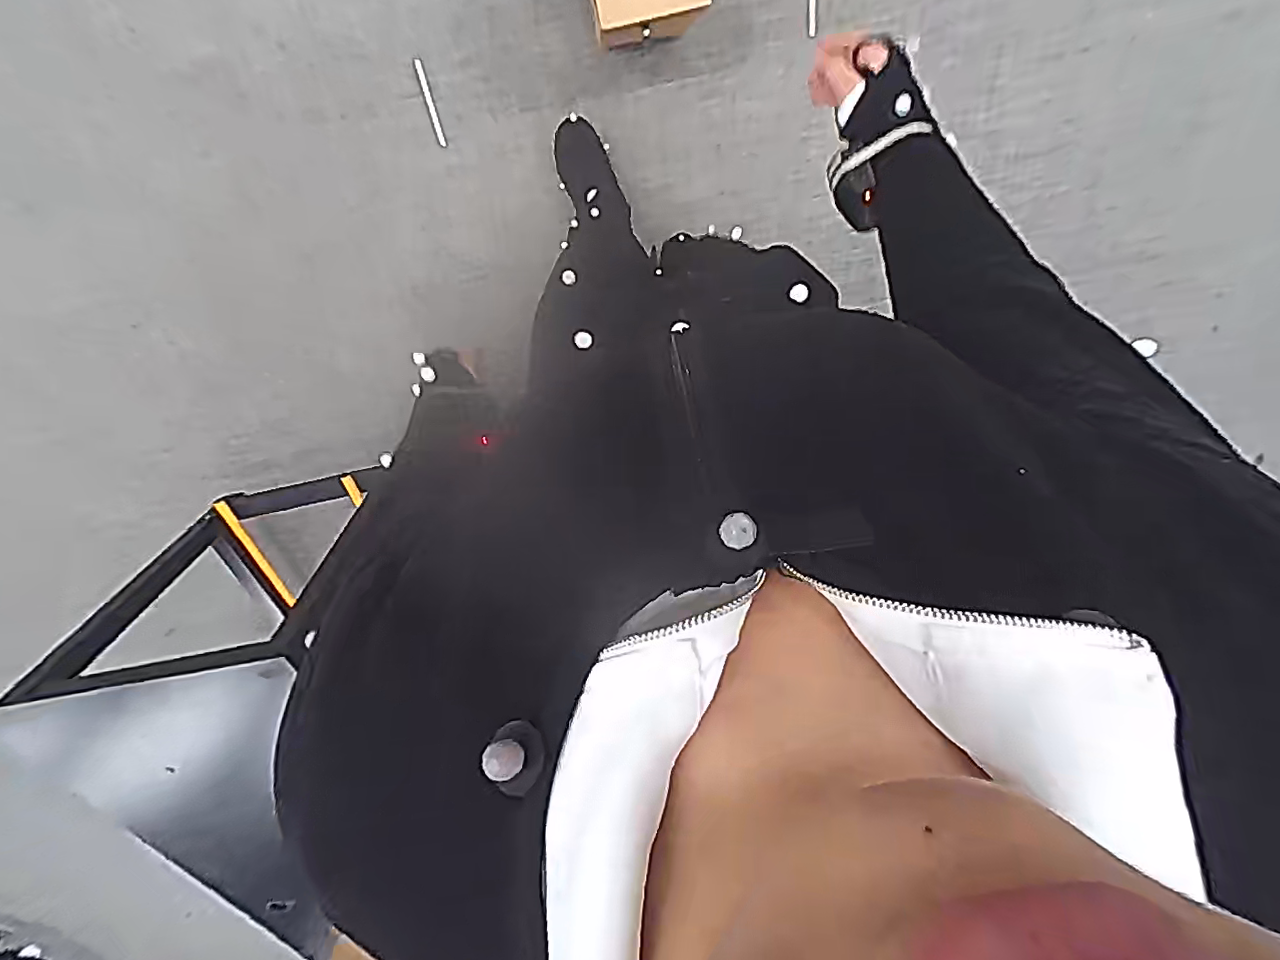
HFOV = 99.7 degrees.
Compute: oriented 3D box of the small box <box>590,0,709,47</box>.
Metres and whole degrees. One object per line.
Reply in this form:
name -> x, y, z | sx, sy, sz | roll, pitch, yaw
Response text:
small box -> 0.001, -0.809, 0.849 | 0.179, 0.176, 0.168 | -12, 122, 2
